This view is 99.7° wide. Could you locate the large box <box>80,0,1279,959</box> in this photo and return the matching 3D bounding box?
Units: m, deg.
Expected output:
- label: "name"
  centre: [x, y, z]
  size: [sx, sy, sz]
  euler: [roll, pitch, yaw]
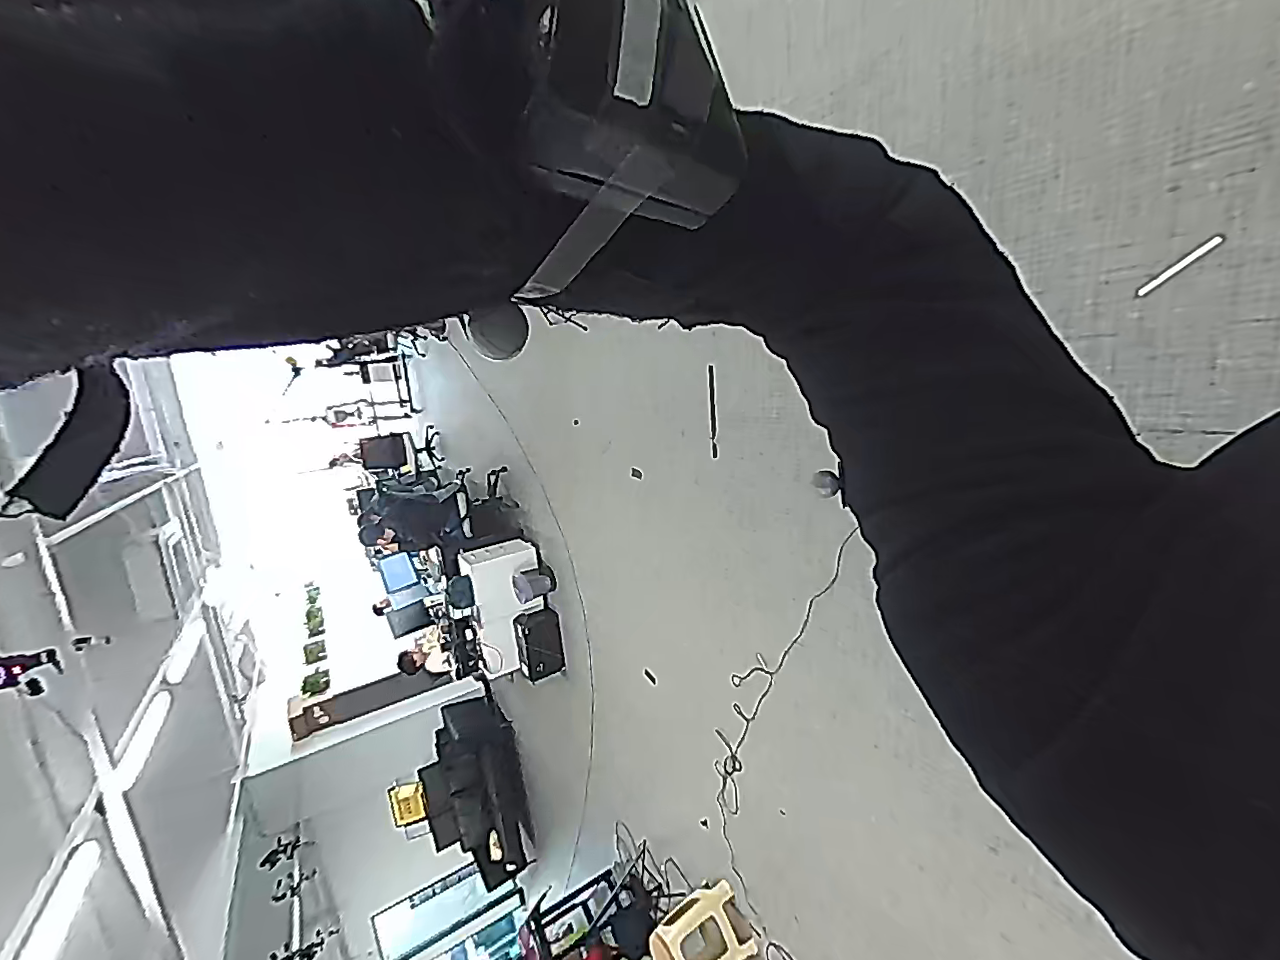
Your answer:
- label: "large box"
  centre: [0.114, 0.061, 0.156]
  size: [0.408, 0.320, 0.320]
  euler: [14, -116, 52]
